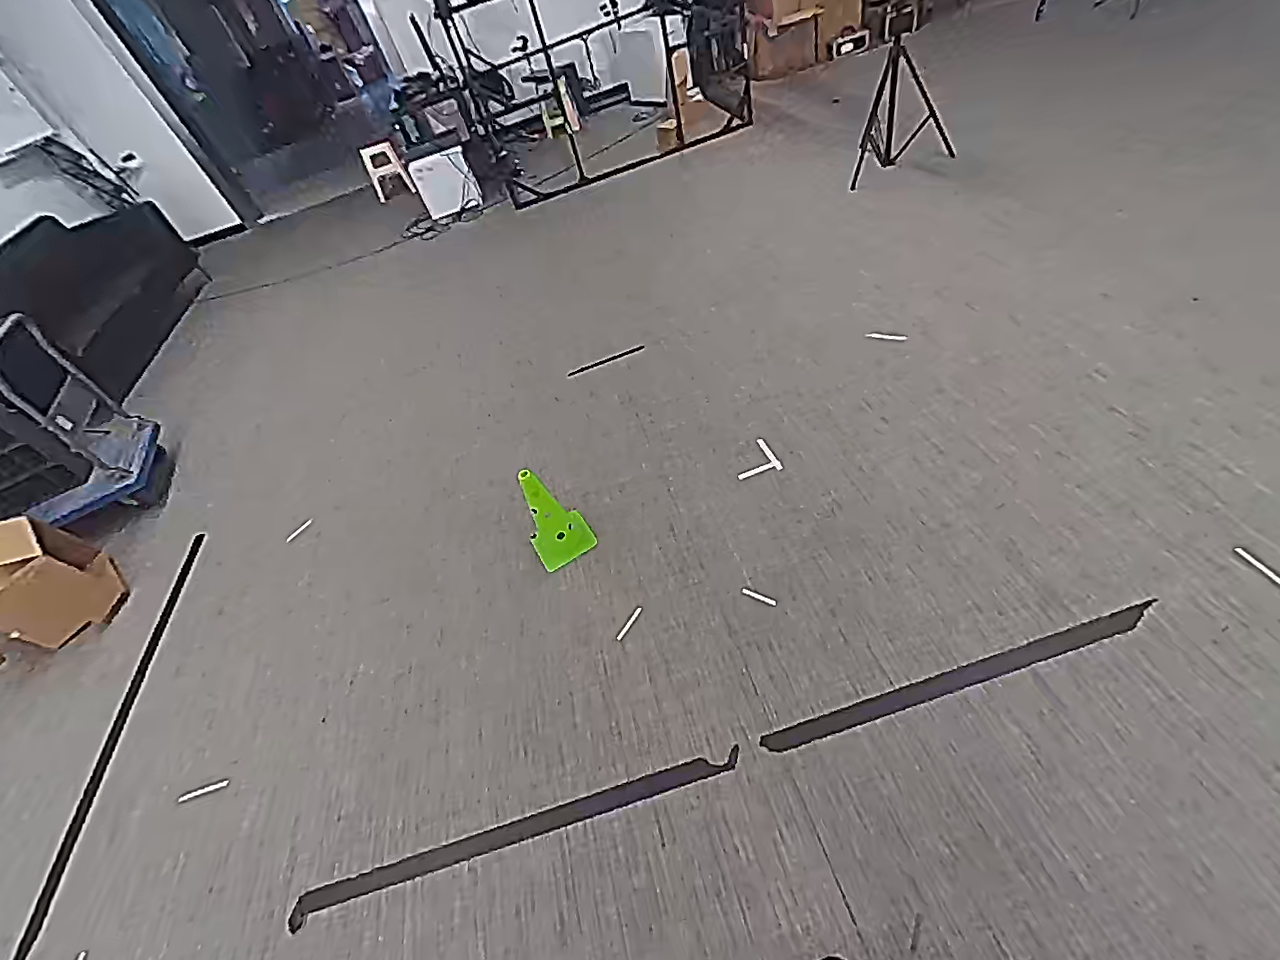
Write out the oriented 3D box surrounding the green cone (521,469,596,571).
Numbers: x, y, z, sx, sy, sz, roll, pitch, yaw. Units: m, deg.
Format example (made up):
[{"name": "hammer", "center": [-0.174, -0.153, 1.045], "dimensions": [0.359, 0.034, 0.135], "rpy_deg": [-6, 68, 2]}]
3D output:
[{"name": "green cone", "center": [-0.314, 0.100, 1.794], "dimensions": [0.202, 0.368, 0.200], "rpy_deg": [-31, 47, -12]}]
